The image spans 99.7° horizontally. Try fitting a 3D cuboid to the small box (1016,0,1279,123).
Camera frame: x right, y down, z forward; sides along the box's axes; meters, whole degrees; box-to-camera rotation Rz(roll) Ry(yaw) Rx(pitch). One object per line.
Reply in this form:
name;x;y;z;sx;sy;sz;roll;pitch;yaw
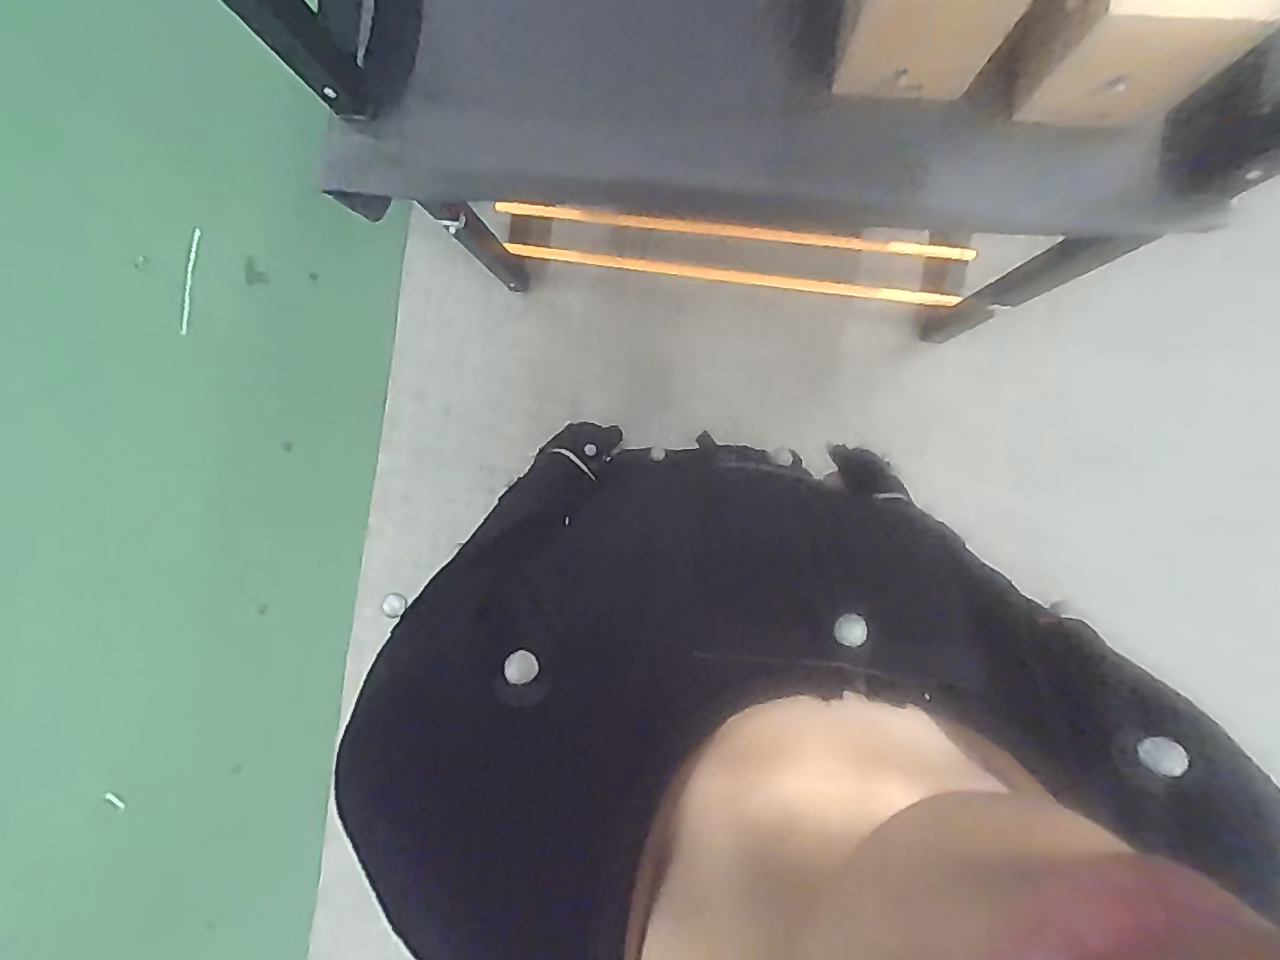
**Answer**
small box;0.564;-0.542;0.612;0.168;0.176;0.179;7;91;5
